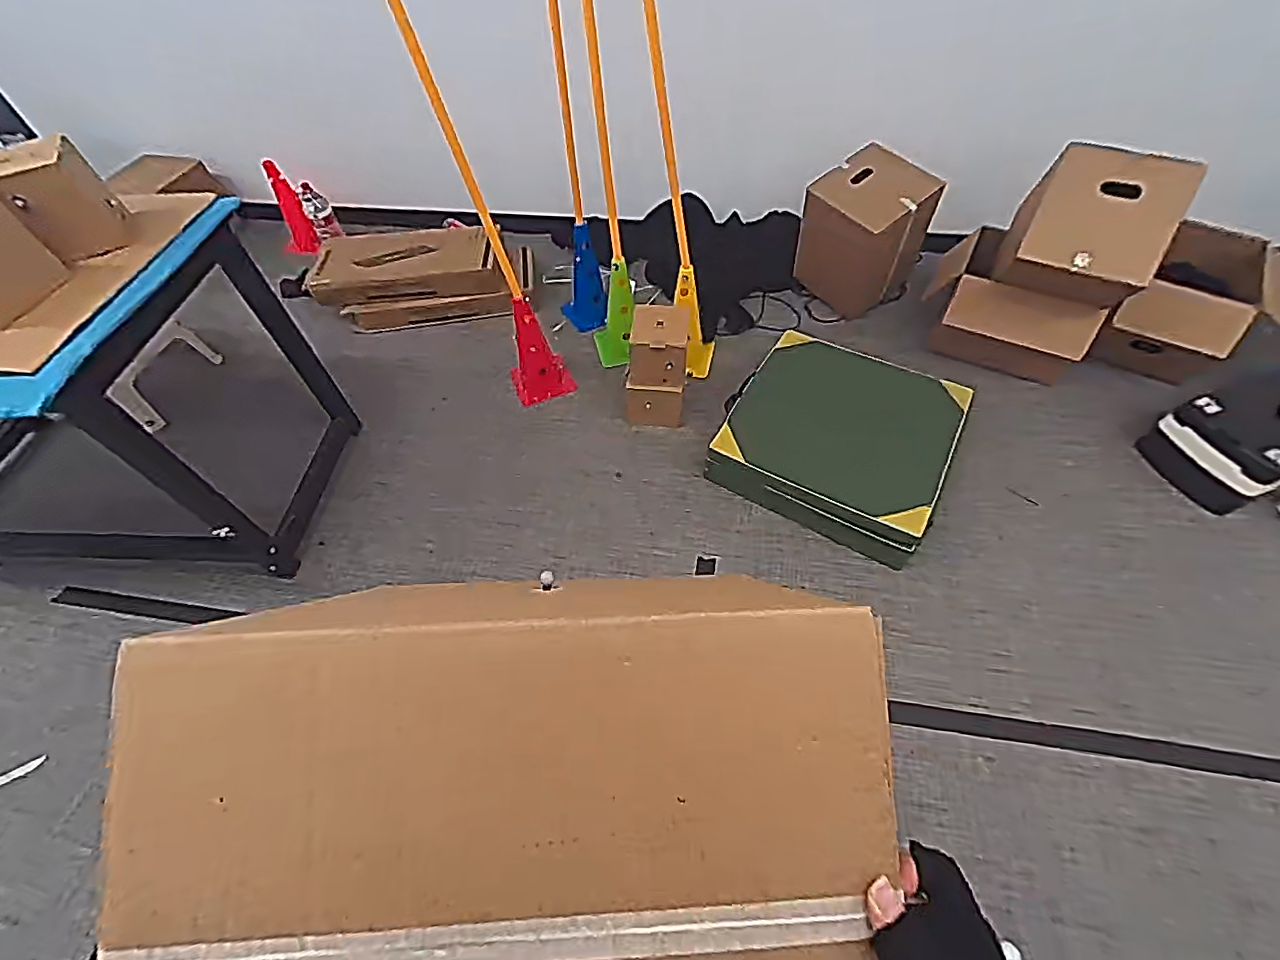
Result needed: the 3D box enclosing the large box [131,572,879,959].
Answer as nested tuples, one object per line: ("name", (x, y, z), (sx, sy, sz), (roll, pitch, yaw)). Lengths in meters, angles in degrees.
("large box", (-0.071, 0.253, 0.441), (0.408, 0.320, 0.320), (-2, 84, -3))
